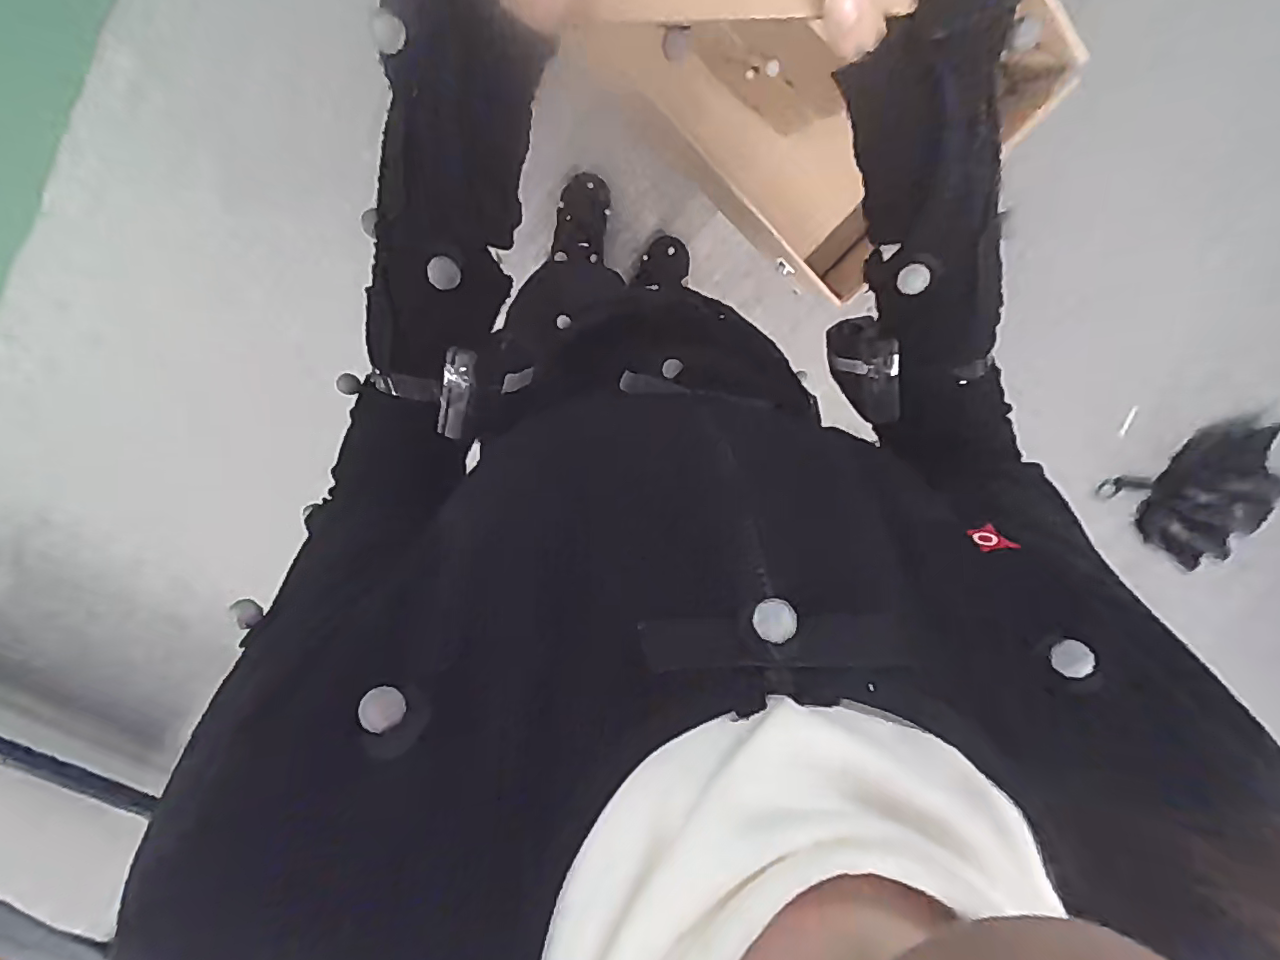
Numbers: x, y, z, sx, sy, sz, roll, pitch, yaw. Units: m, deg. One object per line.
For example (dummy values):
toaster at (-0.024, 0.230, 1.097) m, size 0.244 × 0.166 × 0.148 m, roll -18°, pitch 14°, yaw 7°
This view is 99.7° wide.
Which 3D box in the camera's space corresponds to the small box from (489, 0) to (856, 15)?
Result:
small box at (0.018, -0.308, 0.220) m, size 0.168 × 0.176 × 0.179 m, roll 0°, pitch 132°, yaw 3°

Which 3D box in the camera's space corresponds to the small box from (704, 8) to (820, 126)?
small box at (0.198, -0.588, 0.678) m, size 0.168 × 0.176 × 0.179 m, roll 33°, pitch 111°, yaw -16°

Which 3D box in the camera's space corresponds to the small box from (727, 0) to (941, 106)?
small box at (0.206, -0.514, 0.532) m, size 0.168 × 0.176 × 0.179 m, roll 34°, pitch 112°, yaw -17°
